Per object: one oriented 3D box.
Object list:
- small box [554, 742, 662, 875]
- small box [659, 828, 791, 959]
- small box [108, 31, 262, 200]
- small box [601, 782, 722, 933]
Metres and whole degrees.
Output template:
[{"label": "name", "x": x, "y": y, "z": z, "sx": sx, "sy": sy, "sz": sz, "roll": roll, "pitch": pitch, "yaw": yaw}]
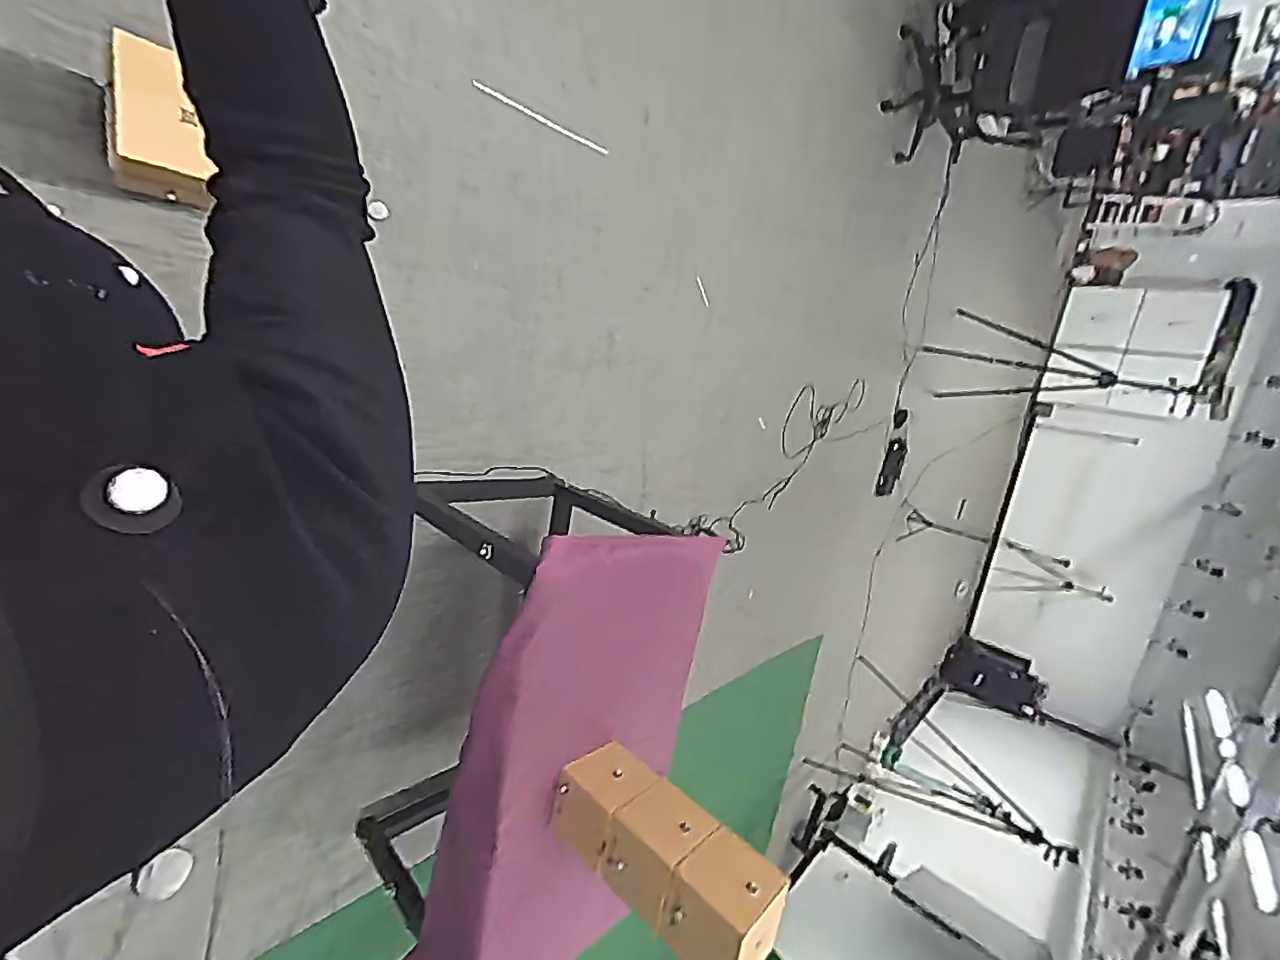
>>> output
[{"label": "small box", "x": -0.079, "y": 0.753, "z": 1.262, "sx": 0.179, "sy": 0.176, "sz": 0.168, "roll": 0, "pitch": 105, "yaw": -48}, {"label": "small box", "x": 0.165, "y": 0.834, "z": 1.058, "sx": 0.179, "sy": 0.176, "sz": 0.168, "roll": -1, "pitch": 104, "yaw": -48}, {"label": "small box", "x": -0.743, "y": -0.573, "z": 0.883, "sx": 0.179, "sy": 0.176, "sz": 0.168, "roll": -5, "pitch": 108, "yaw": -48}, {"label": "small box", "x": 0.045, "y": 0.793, "z": 1.161, "sx": 0.179, "sy": 0.176, "sz": 0.168, "roll": 0, "pitch": 104, "yaw": -47}]
